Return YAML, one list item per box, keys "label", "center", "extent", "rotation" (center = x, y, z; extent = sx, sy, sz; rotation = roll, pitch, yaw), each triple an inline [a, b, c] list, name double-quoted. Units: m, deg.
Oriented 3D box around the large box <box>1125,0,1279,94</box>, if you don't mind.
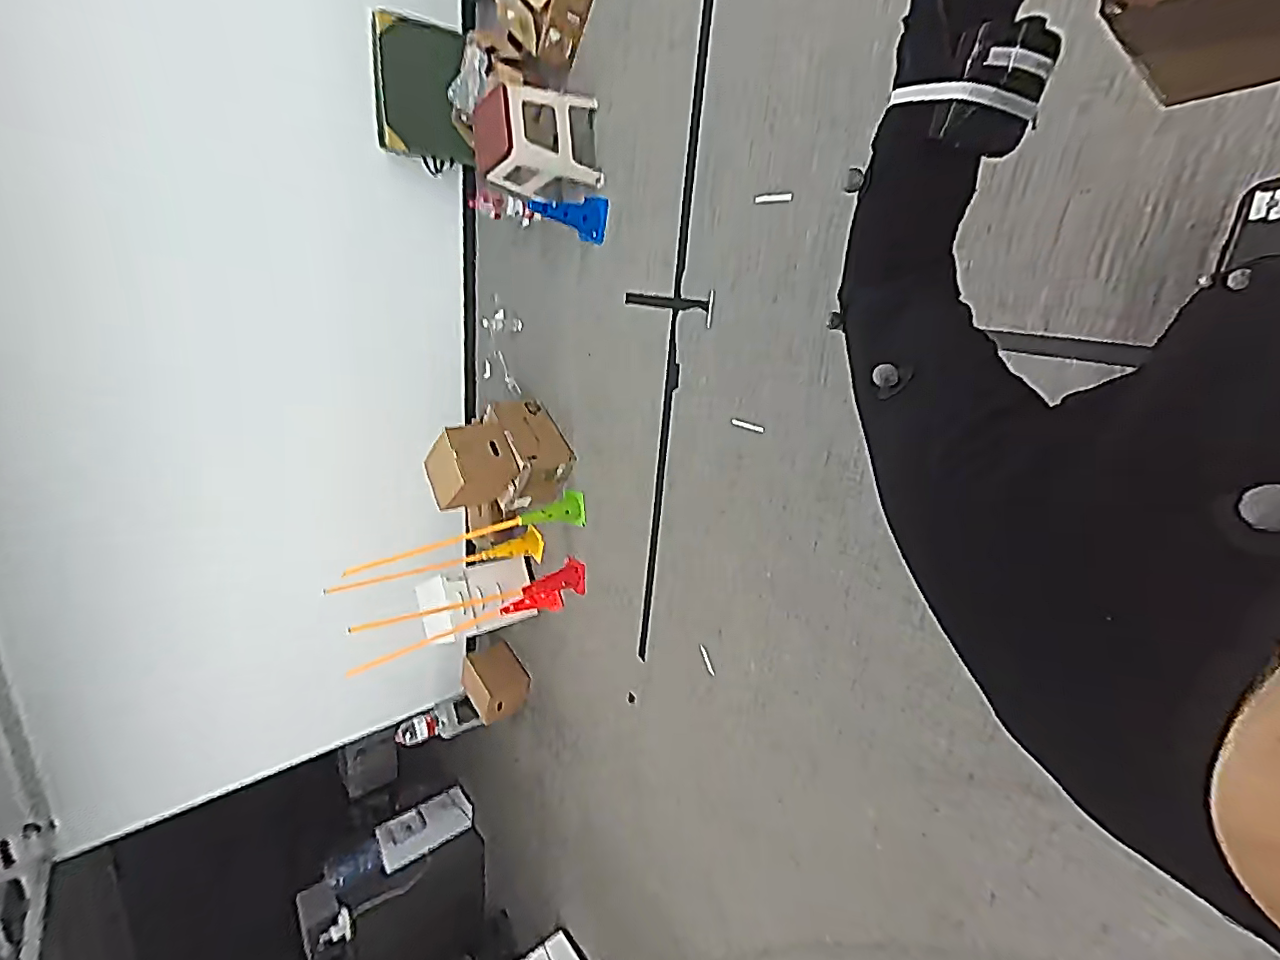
- label: "large box"
  center: [0.514, -0.439, 0.236]
  extent: [0.408, 0.320, 0.320]
  rotation: [14, 116, 45]
